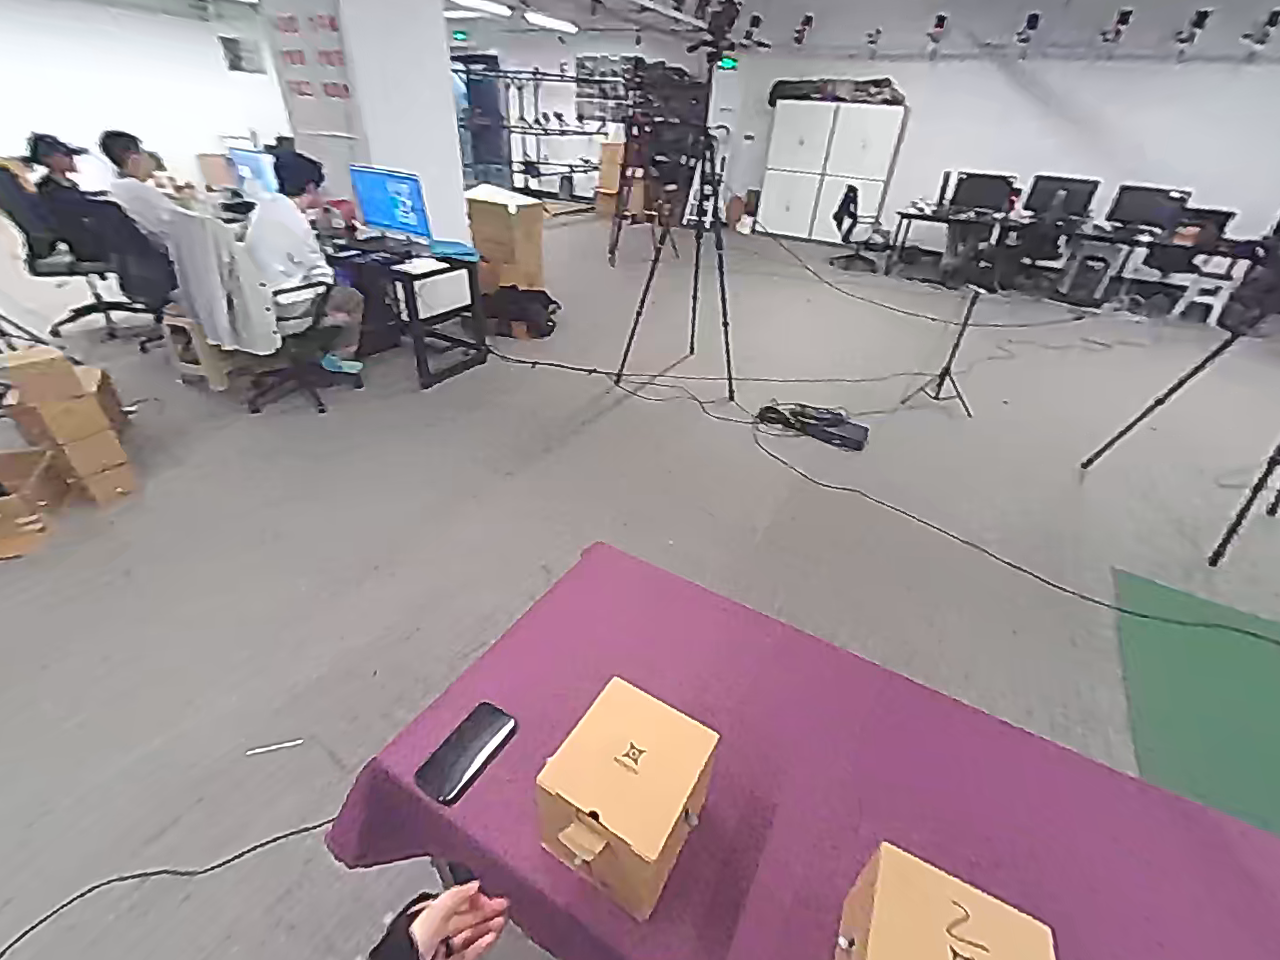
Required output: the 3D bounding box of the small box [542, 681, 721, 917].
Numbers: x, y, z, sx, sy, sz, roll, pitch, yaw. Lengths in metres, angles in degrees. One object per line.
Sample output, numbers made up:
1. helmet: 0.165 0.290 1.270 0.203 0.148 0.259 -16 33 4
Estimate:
1. small box: -0.013 0.414 0.714 0.168 0.176 0.179 22 38 23
